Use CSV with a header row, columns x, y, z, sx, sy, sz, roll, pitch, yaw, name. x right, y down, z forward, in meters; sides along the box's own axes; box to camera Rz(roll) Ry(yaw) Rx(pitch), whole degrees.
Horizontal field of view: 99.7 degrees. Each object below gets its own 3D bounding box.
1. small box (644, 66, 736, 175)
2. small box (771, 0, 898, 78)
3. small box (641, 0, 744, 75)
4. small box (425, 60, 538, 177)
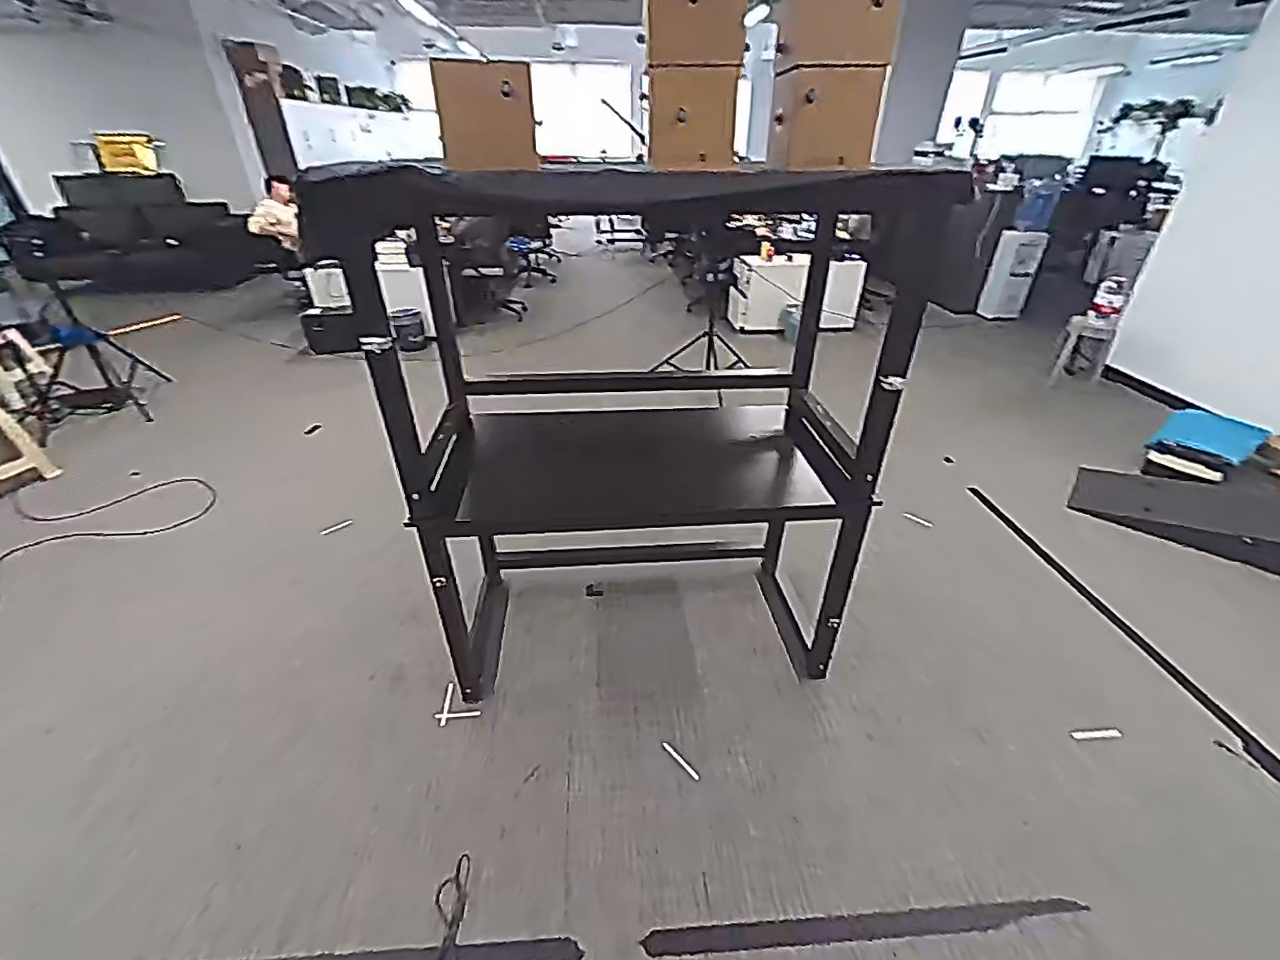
x,y,z,sx,sy,sz,roll,pitch,yaw,name
0.092,-0.706,1.074,0.168,0.176,0.179,-1,31,-1,small box
0.352,-0.846,0.985,0.179,0.176,0.168,-3,30,-3,small box
0.091,-0.842,0.980,0.179,0.176,0.168,-2,30,0,small box
-0.287,-0.678,1.025,0.179,0.176,0.168,-5,31,-8,small box
